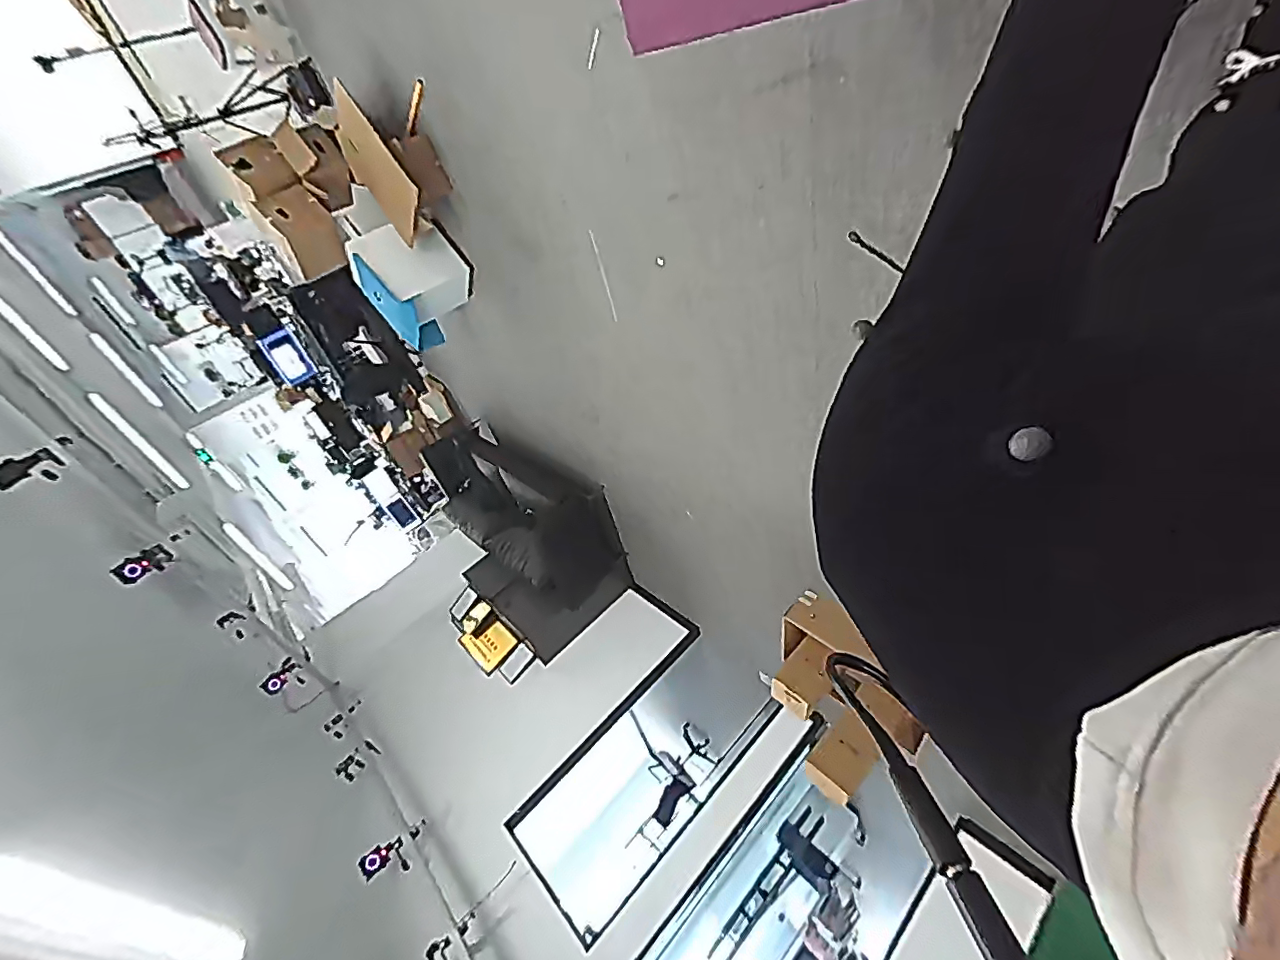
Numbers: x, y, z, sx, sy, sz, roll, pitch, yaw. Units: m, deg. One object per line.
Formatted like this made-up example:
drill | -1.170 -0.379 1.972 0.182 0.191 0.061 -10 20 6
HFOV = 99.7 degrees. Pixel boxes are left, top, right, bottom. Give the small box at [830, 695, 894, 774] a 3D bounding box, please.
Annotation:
small box | 0.820 0.944 2.011 0.168 0.176 0.179 30 148 37

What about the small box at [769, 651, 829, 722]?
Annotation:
small box | 0.636 0.819 2.158 0.168 0.176 0.179 33 149 36

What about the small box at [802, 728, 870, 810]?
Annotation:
small box | 0.703 1.036 1.944 0.168 0.176 0.179 31 148 36

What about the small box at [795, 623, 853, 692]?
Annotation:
small box | 0.754 0.727 2.226 0.168 0.176 0.179 32 148 36
